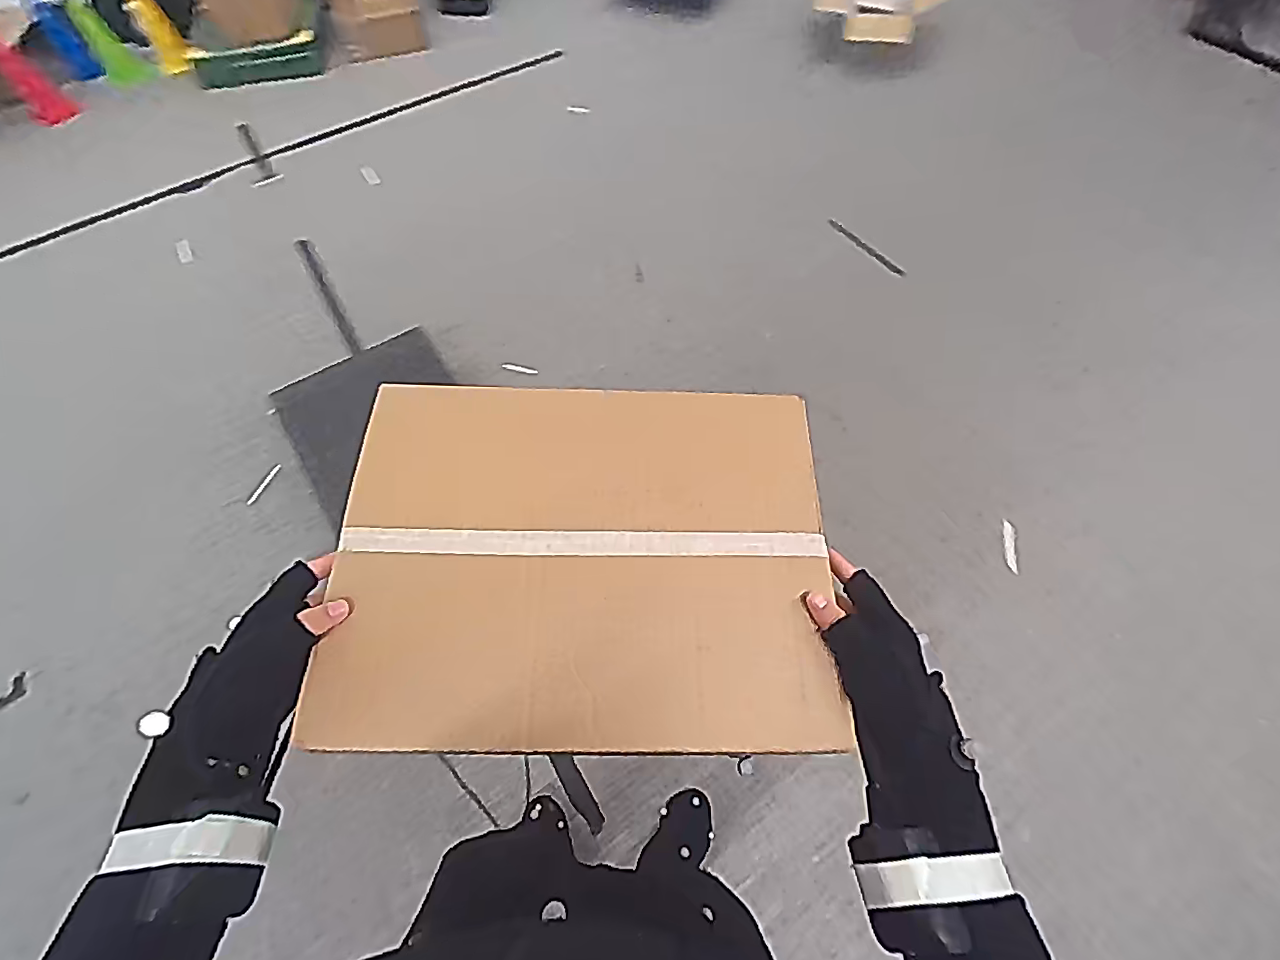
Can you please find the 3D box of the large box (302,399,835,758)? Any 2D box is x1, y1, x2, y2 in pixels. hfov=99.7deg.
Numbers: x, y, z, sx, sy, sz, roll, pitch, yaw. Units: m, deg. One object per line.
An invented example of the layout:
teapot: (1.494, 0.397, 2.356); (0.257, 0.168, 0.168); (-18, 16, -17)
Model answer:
large box: (-0.057, 0.124, 0.598); (0.408, 0.320, 0.320); (1, 64, -3)
